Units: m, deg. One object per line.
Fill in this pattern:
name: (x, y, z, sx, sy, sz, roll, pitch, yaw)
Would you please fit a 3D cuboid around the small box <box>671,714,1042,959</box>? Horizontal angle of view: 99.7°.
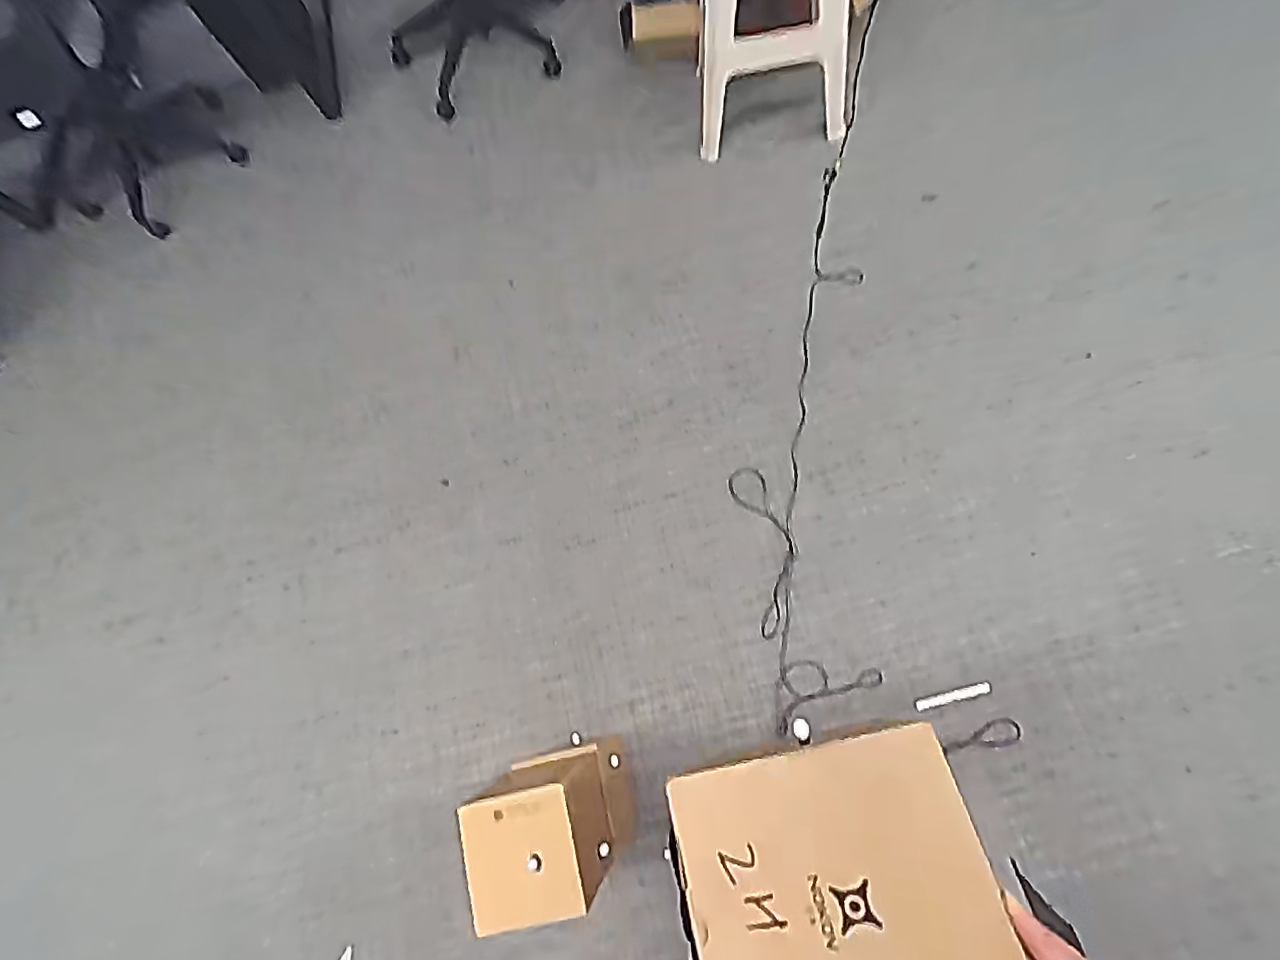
small box: (0.133, 0.266, 0.375, 0.179, 0.176, 0.168, -16, 64, 7)
